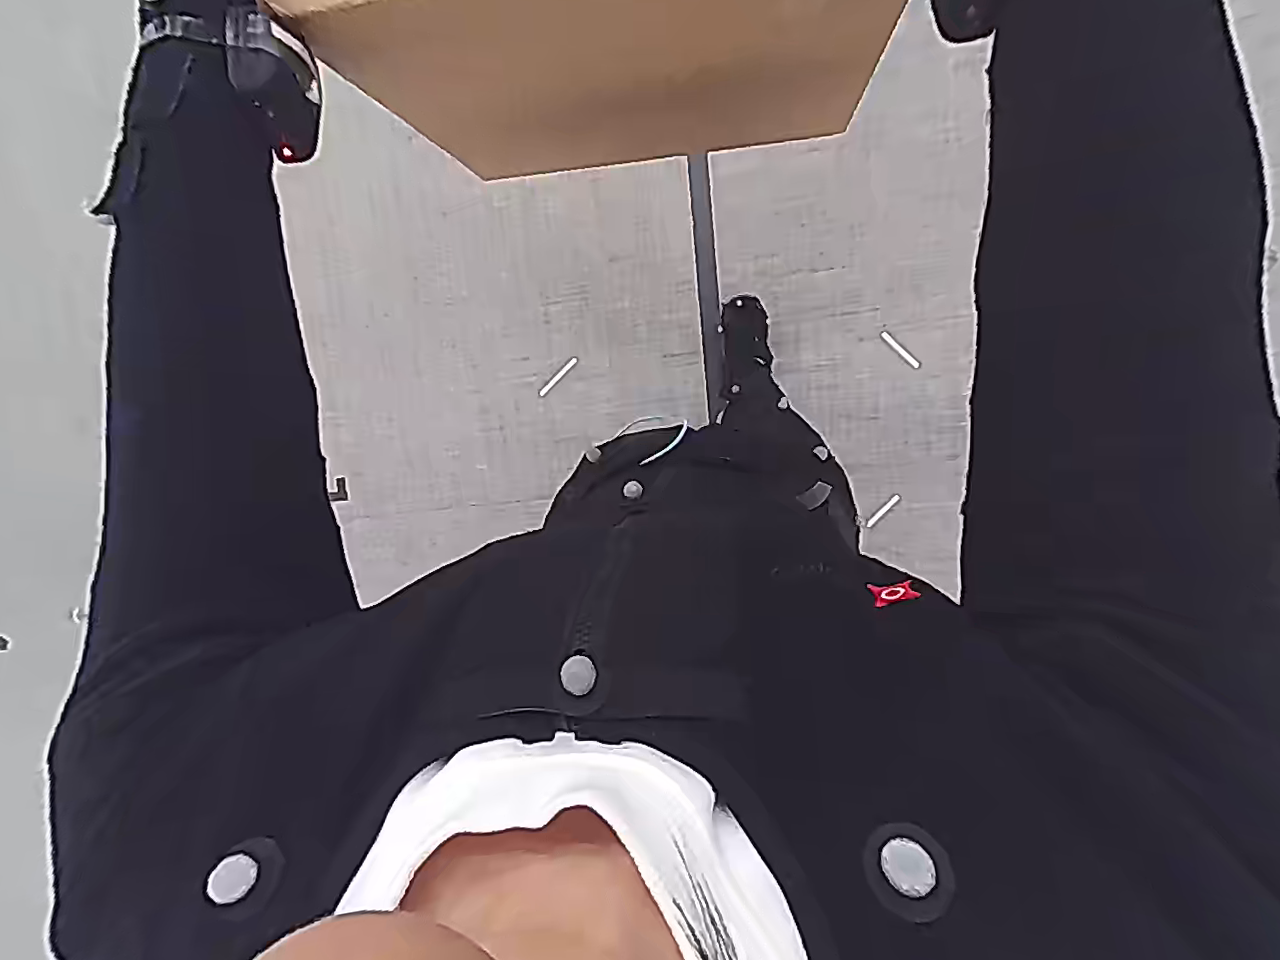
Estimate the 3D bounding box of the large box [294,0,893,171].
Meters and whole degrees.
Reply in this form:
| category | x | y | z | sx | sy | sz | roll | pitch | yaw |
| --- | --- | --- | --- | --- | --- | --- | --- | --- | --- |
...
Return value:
| category | x | y | z | sx | sy | sz | roll | pitch | yaw |
| --- | --- | --- | --- | --- | --- | --- | --- | --- | --- |
| large box | -0.018 | -0.486 | 0.426 | 0.408 | 0.320 | 0.320 | -3 | 102 | 9 |
